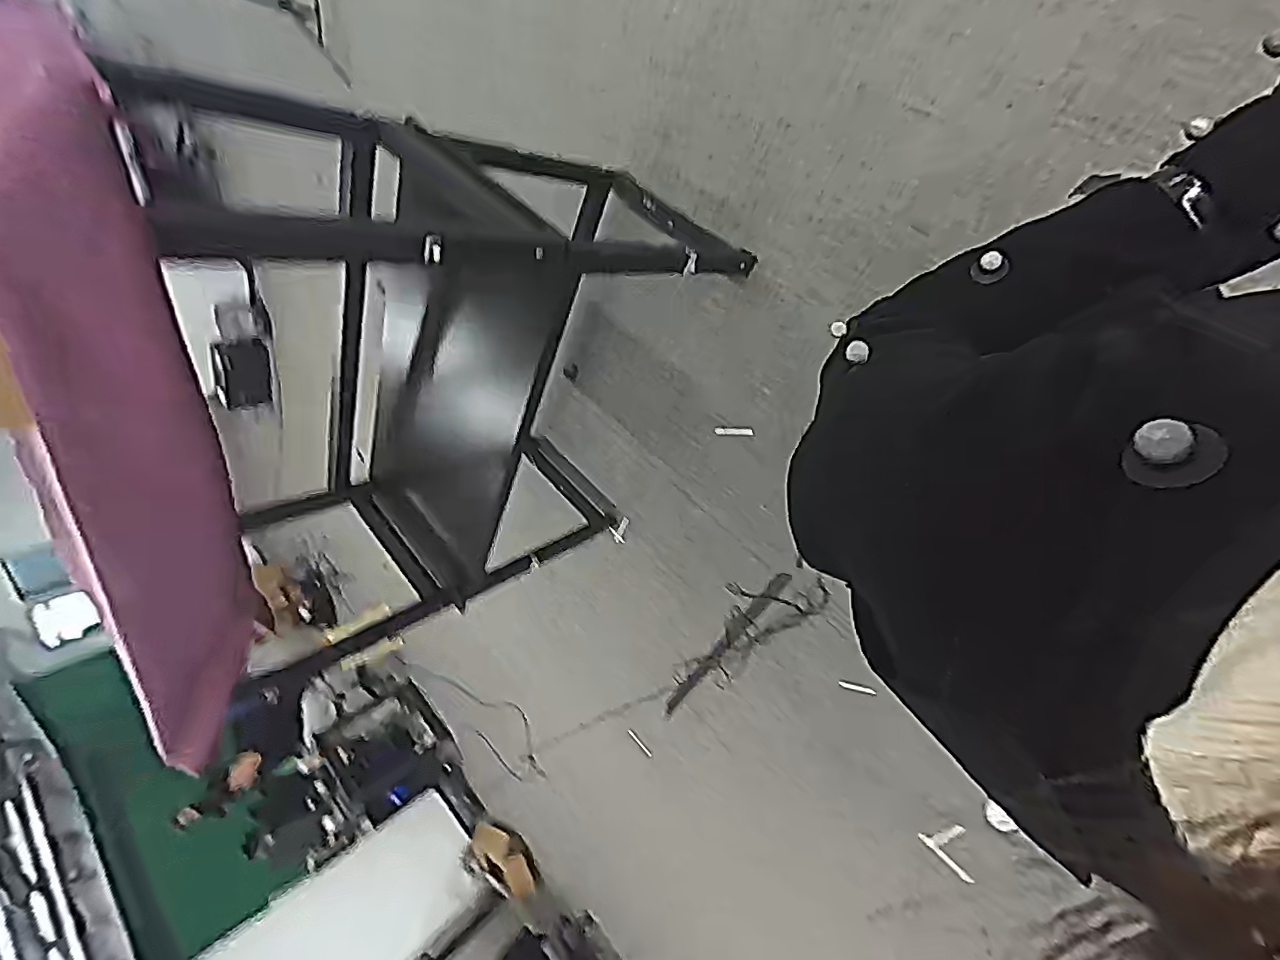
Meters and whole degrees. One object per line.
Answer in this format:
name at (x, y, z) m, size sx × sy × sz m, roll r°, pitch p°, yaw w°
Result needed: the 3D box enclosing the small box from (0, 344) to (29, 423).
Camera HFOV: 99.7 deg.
small box at (-0.784, -0.158, 0.548) m, size 0.168 × 0.176 × 0.179 m, roll 49°, pitch 133°, yaw 17°
